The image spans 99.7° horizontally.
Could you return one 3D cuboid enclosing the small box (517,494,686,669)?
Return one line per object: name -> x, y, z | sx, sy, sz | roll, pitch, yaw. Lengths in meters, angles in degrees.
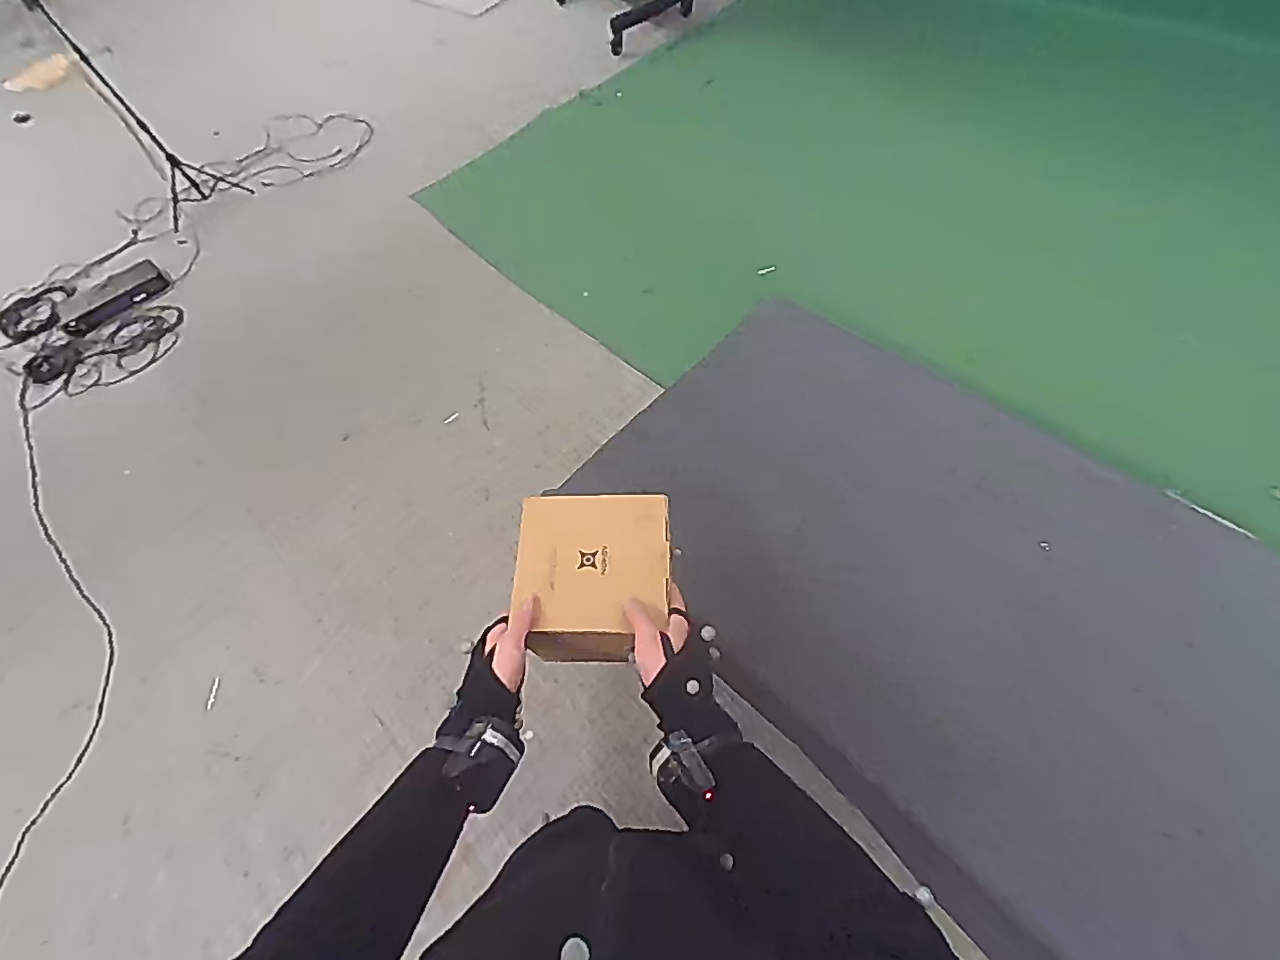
small box -> -0.037, 0.129, 0.663 | 0.179, 0.176, 0.168 | -2, 58, 2
